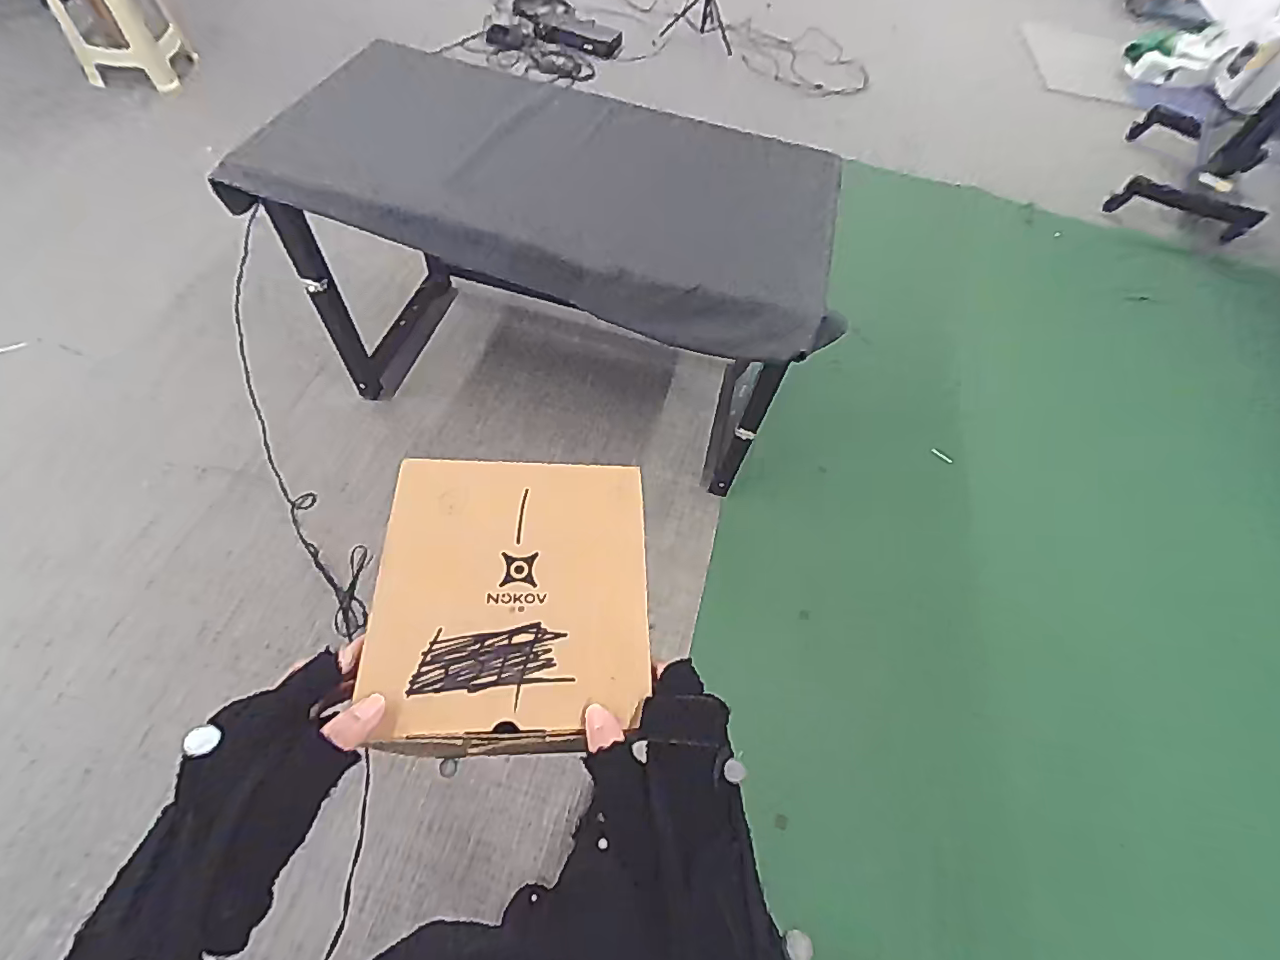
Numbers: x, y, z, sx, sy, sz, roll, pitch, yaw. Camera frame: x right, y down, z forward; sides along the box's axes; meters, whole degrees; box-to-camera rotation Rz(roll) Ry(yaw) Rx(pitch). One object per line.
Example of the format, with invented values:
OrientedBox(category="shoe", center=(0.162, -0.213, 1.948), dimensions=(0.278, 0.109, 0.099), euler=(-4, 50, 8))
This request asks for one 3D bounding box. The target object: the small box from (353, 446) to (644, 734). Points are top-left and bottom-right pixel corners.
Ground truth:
OrientedBox(category="small box", center=(-0.089, 0.093, 0.411), dimensions=(0.168, 0.176, 0.179), euler=(2, 60, -8))
